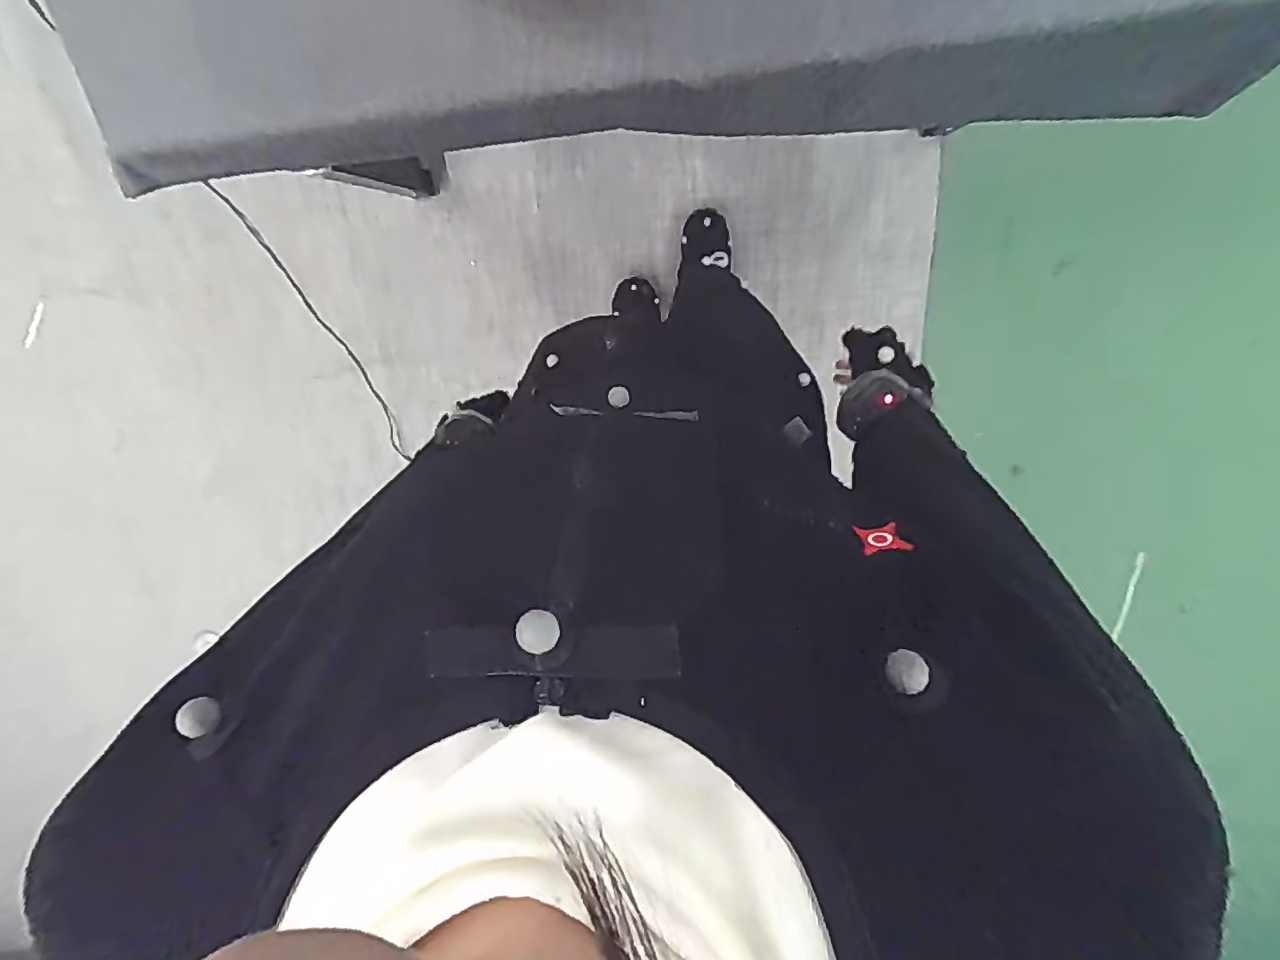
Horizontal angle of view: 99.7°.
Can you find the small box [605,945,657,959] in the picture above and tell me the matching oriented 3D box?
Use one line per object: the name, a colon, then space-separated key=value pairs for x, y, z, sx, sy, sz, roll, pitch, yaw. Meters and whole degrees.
small box: x=-0.026 y=1.661 z=1.764 sx=0.179 sy=0.176 sz=0.168 roll=-7 pitch=110 yaw=7
